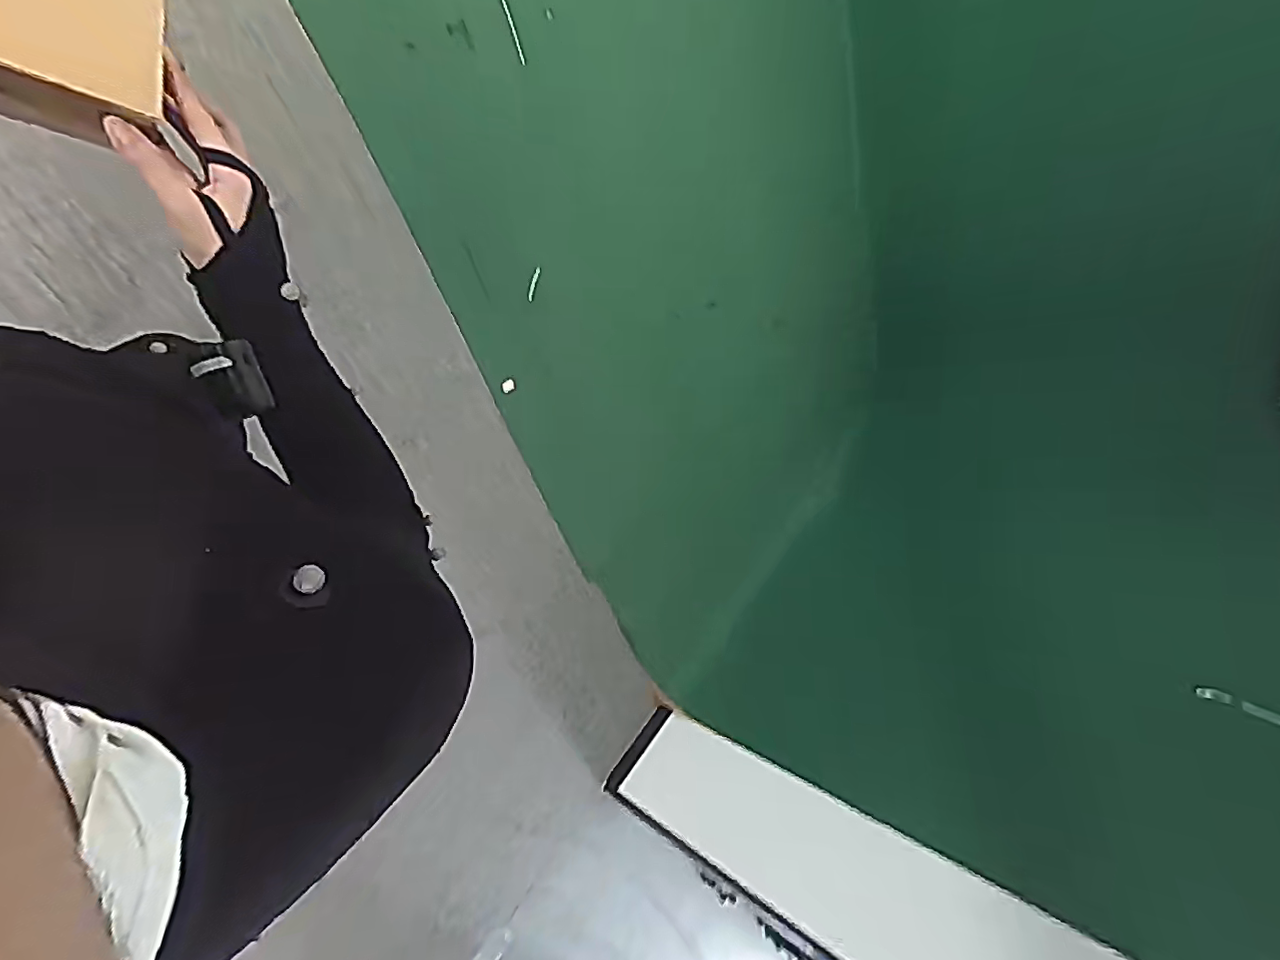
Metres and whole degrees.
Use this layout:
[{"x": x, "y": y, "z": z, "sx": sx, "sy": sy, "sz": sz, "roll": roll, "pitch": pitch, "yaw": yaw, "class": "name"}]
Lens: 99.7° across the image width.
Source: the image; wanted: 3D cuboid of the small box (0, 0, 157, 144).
[{"x": -0.446, "y": -0.353, "z": 0.364, "sx": 0.179, "sy": 0.176, "sz": 0.168, "roll": 0, "pitch": 104, "yaw": -43, "class": "small box"}]
